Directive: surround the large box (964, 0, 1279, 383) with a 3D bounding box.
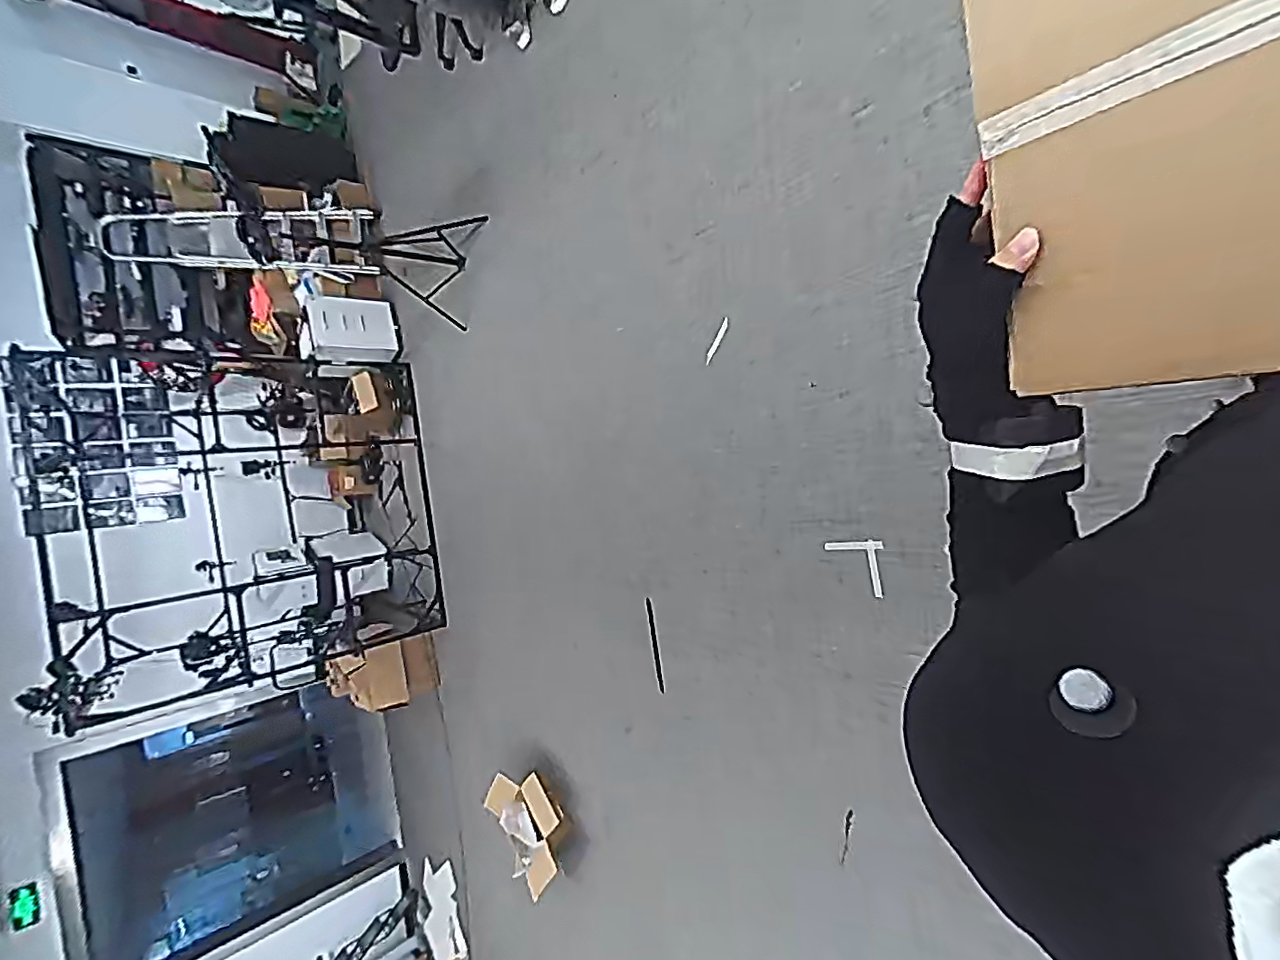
[{"bbox_3d":[0.442,-0.259,0.265,0.408,0.320,0.320,0,110,51],"label":"large box"}]
